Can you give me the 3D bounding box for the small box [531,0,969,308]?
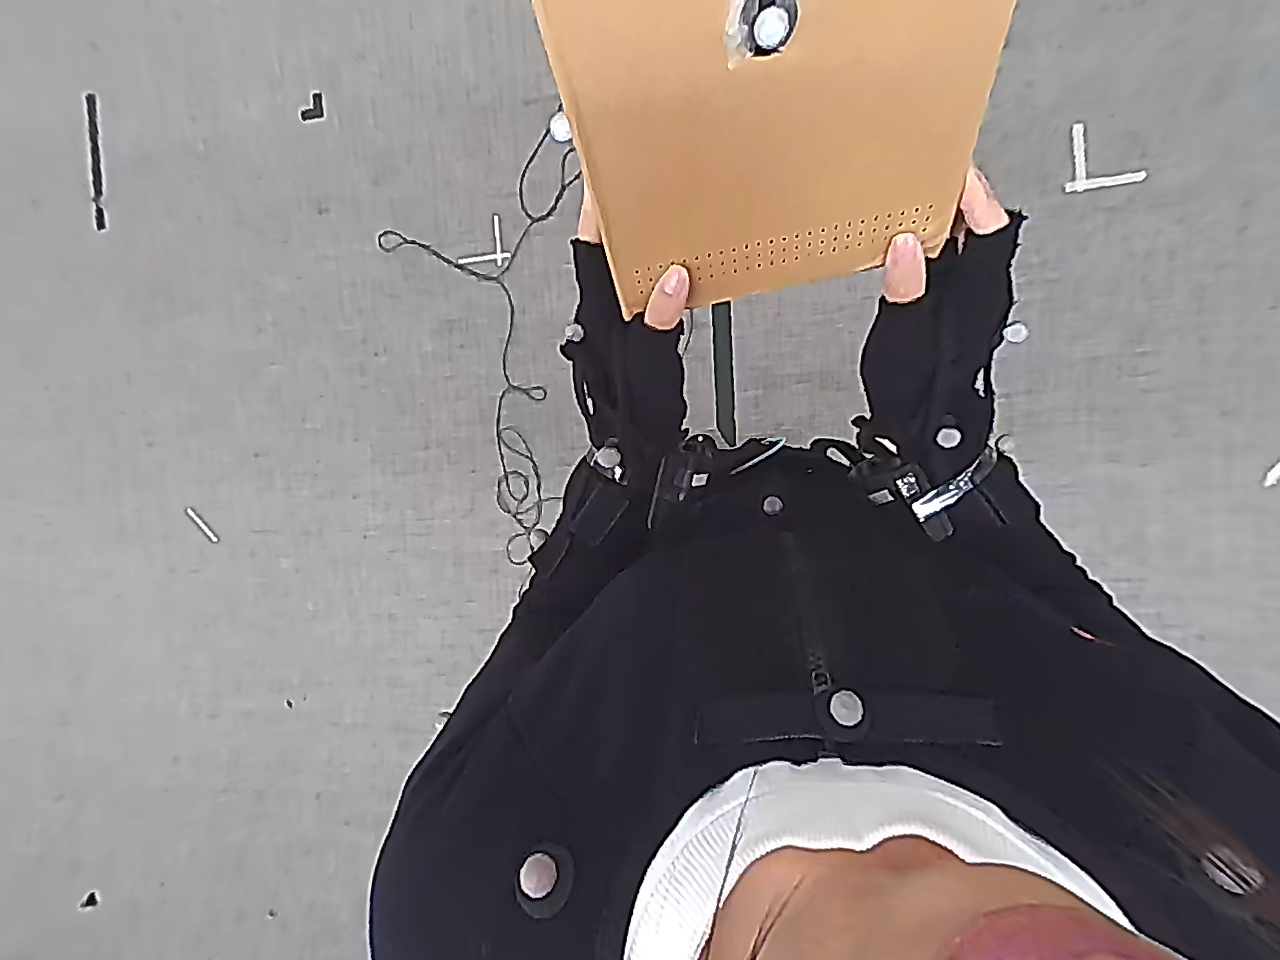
[{"bbox_3d":[0.056,-0.219,0.294,0.179,0.176,0.168,-9,56,9],"label":"small box"}]
